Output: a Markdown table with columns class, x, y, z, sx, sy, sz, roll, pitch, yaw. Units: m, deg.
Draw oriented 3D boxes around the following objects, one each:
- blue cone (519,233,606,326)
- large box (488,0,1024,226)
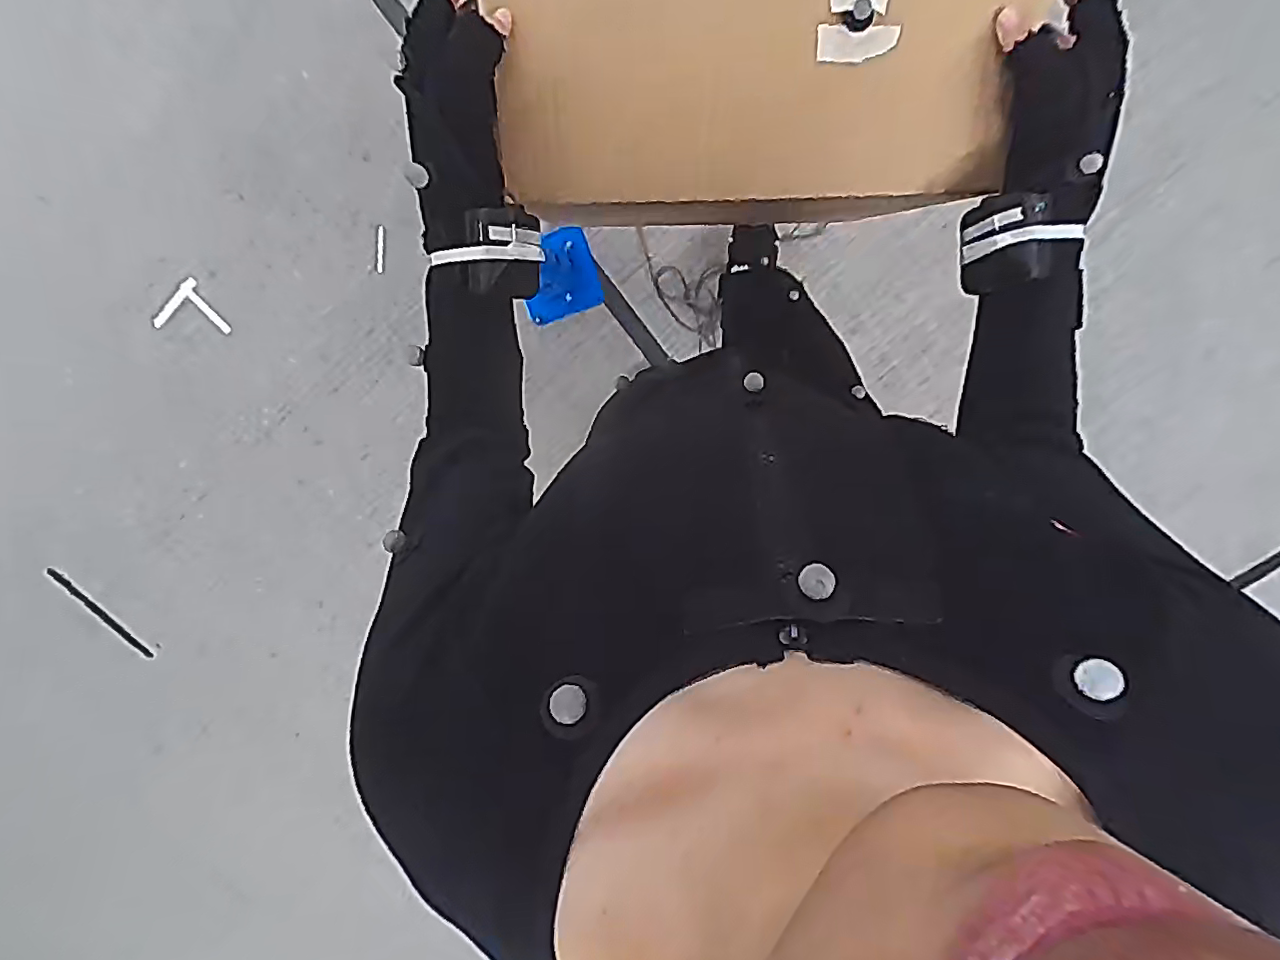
| class | x | y | z | sx | sy | sz | roll | pitch | yaw |
| --- | --- | --- | --- | --- | --- | --- | --- | --- | --- |
| blue cone | -0.209 | -0.468 | 1.219 | 0.193 | 0.380 | 0.192 | -17 | 104 | 8 |
| large box | 0.081 | -0.436 | 0.526 | 0.408 | 0.320 | 0.320 | -2 | 112 | 0 |
